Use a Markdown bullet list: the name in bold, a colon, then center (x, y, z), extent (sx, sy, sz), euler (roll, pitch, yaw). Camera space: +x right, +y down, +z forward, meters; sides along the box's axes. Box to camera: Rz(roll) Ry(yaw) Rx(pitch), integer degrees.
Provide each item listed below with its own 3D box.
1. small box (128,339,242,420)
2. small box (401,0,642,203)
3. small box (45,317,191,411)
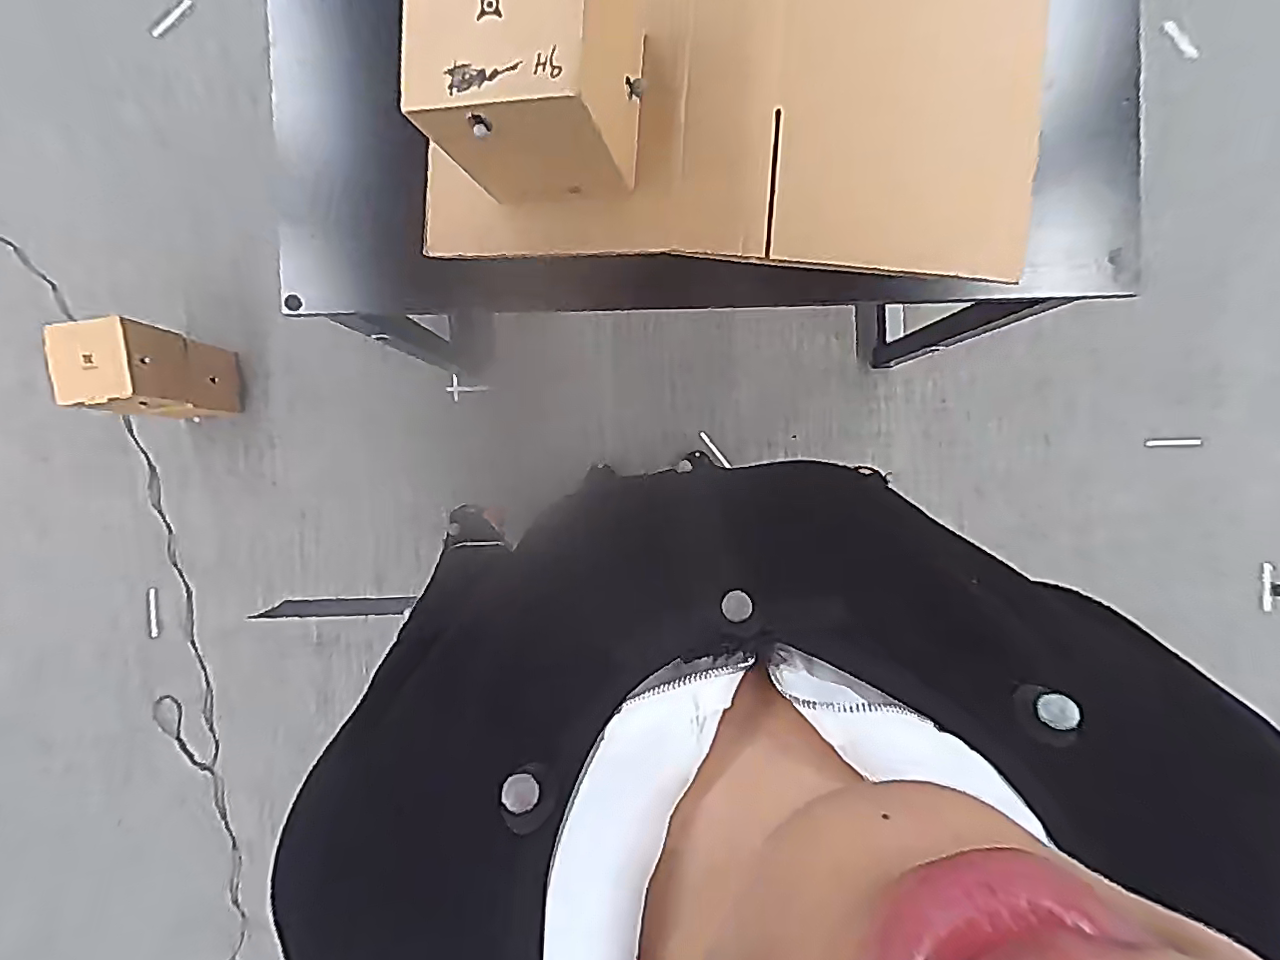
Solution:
- **small box**: center (-1.176, -0.255, 1.397), extent (0.168, 0.176, 0.179), euler (-5, 93, 0)
- **small box**: center (-0.098, -0.395, 0.517), extent (0.168, 0.176, 0.179), euler (4, 92, 14)
- **small box**: center (-1.176, -0.255, 1.234), extent (0.168, 0.176, 0.179), euler (-8, 91, -1)
